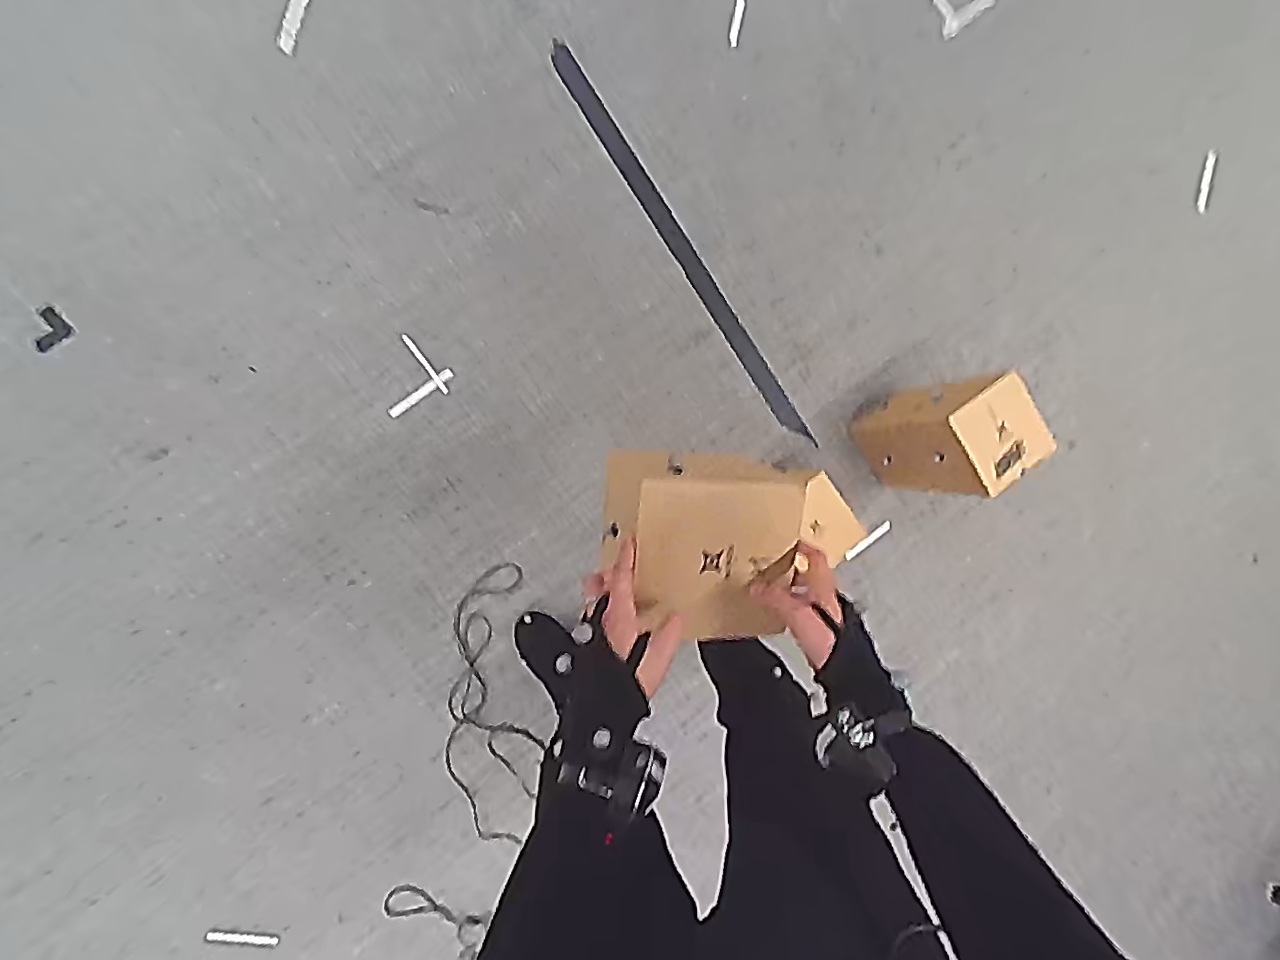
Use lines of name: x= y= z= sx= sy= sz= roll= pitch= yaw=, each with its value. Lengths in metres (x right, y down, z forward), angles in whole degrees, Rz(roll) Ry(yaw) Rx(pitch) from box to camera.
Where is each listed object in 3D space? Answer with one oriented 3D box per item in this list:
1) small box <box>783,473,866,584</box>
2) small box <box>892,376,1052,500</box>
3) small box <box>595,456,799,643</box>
small box: x=0.349 y=0.100 z=1.197 sx=0.168 sy=0.176 sz=0.179 roll=-38 pitch=98 yaw=-6
small box: x=0.646 y=-0.082 z=1.069 sx=0.168 sy=0.176 sz=0.179 roll=-34 pitch=97 yaw=-7
small box: x=0.049 y=0.067 z=0.607 sx=0.179 sy=0.176 sz=0.168 roll=2 pitch=101 yaw=-15
